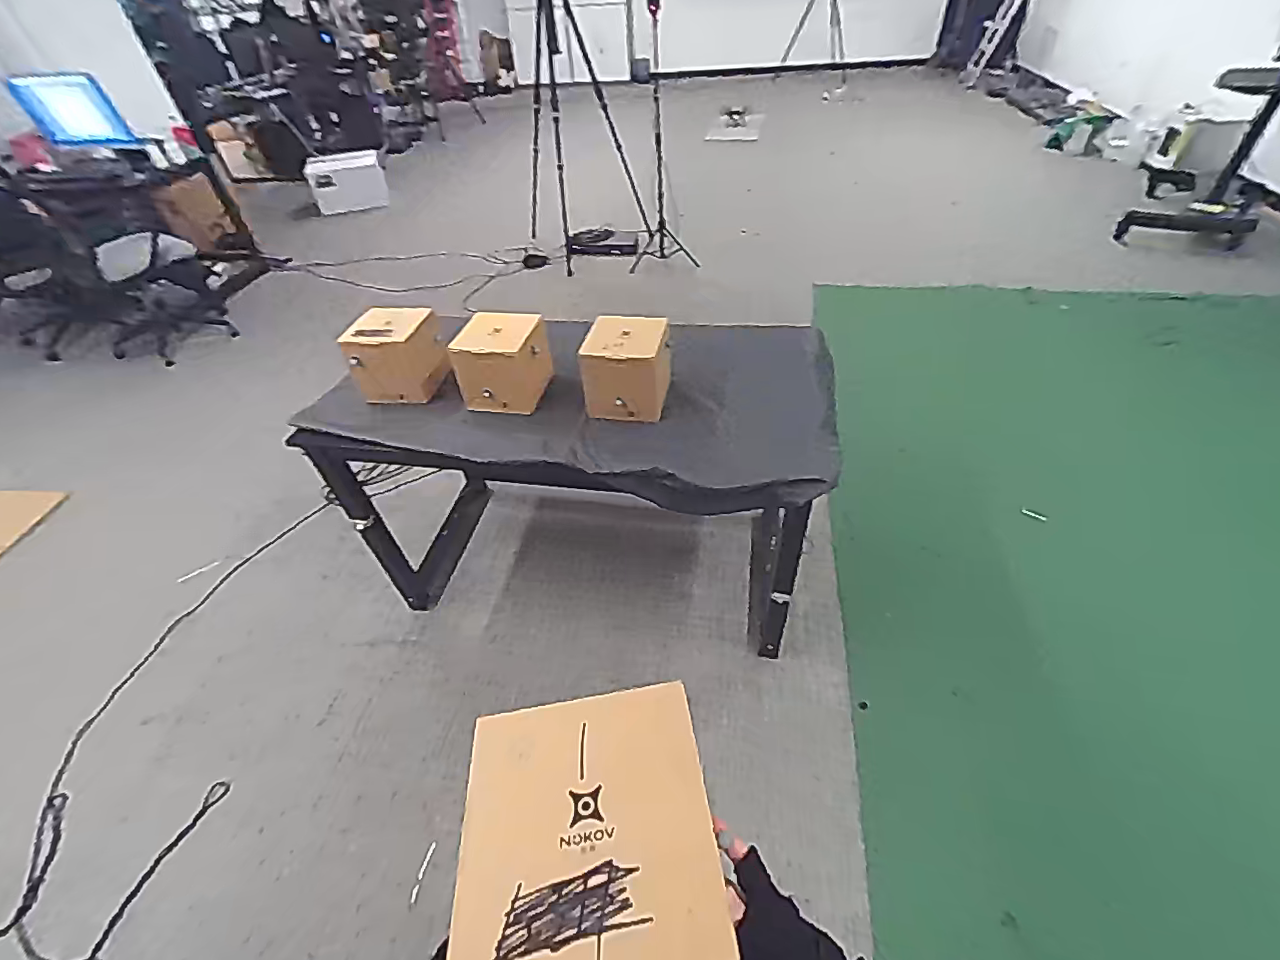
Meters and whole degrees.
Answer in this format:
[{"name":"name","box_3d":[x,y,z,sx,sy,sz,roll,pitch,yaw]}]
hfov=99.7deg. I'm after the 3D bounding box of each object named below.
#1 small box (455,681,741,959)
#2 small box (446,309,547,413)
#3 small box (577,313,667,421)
[{"name":"small box","box_3d":[-0.022,0.284,0.405,0.168,0.176,0.179,-9,38,-1]},{"name":"small box","box_3d":[-0.326,-0.283,1.278,0.168,0.176,0.179,6,46,9]},{"name":"small box","box_3d":[-0.033,-0.258,1.229,0.168,0.176,0.179,6,45,10]}]
